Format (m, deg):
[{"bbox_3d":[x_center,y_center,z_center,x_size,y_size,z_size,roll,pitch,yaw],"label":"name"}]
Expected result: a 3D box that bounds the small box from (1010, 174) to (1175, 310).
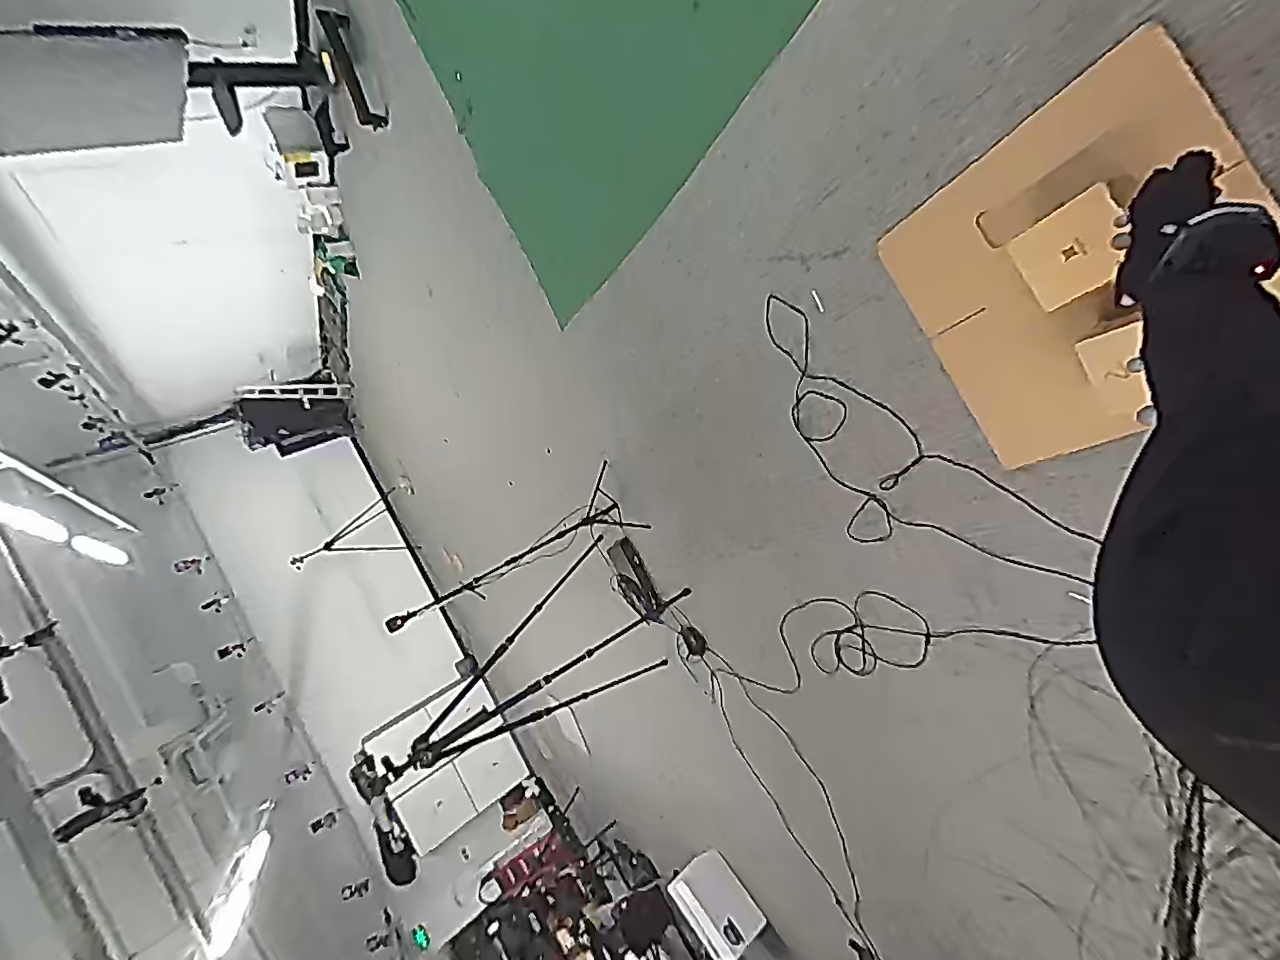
[{"bbox_3d":[0.886,-0.466,1.062,0.168,0.176,0.179,60,147,5],"label":"small box"}]
